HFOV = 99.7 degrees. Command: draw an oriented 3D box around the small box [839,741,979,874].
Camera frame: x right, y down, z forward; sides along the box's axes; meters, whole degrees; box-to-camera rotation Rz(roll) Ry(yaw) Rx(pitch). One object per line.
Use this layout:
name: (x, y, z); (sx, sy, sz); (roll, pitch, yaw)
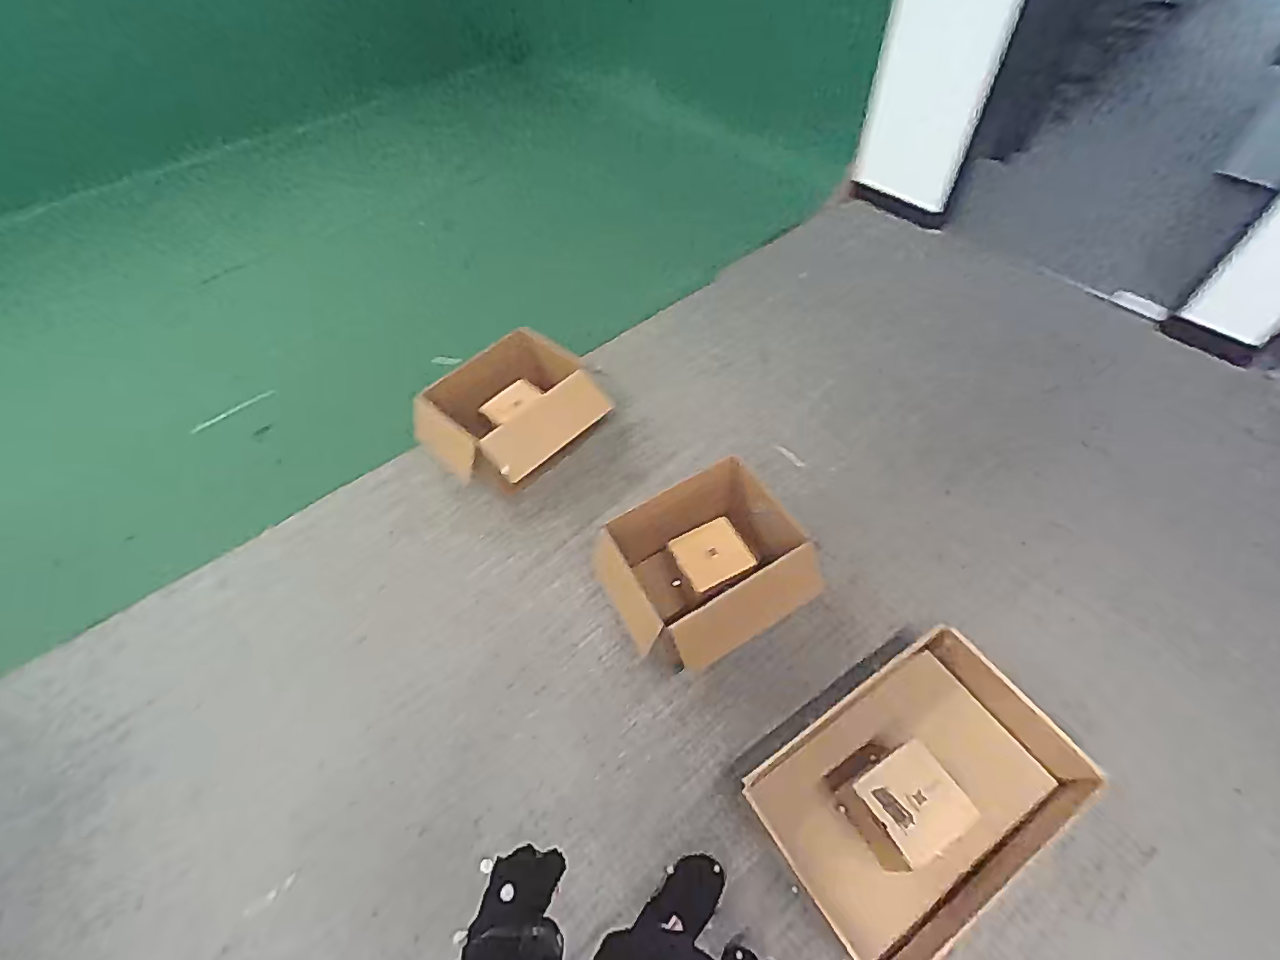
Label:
small box: (0.530, 0.668, 1.099); (0.179, 0.176, 0.168); (-26, 57, -15)
